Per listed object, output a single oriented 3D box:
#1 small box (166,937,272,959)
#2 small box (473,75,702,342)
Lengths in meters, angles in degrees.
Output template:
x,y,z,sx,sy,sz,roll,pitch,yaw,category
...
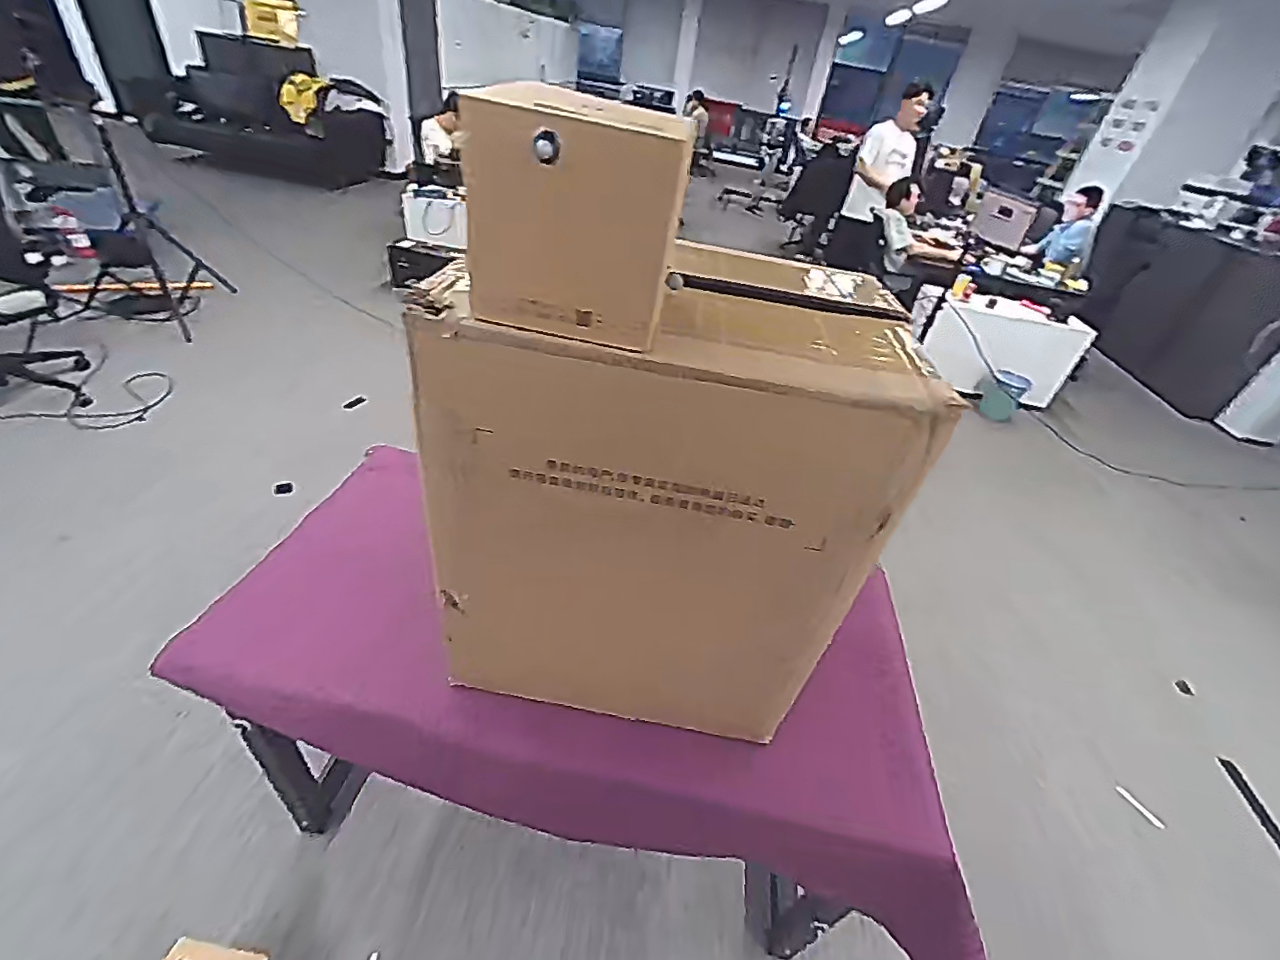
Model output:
x,y,z,sx,sy,sz,roll,pitch,yaw,category
-0.785,0.969,0.977,0.179,0.176,0.168,12,37,2,small box
-0.044,-0.248,0.496,0.168,0.176,0.179,11,37,0,small box
